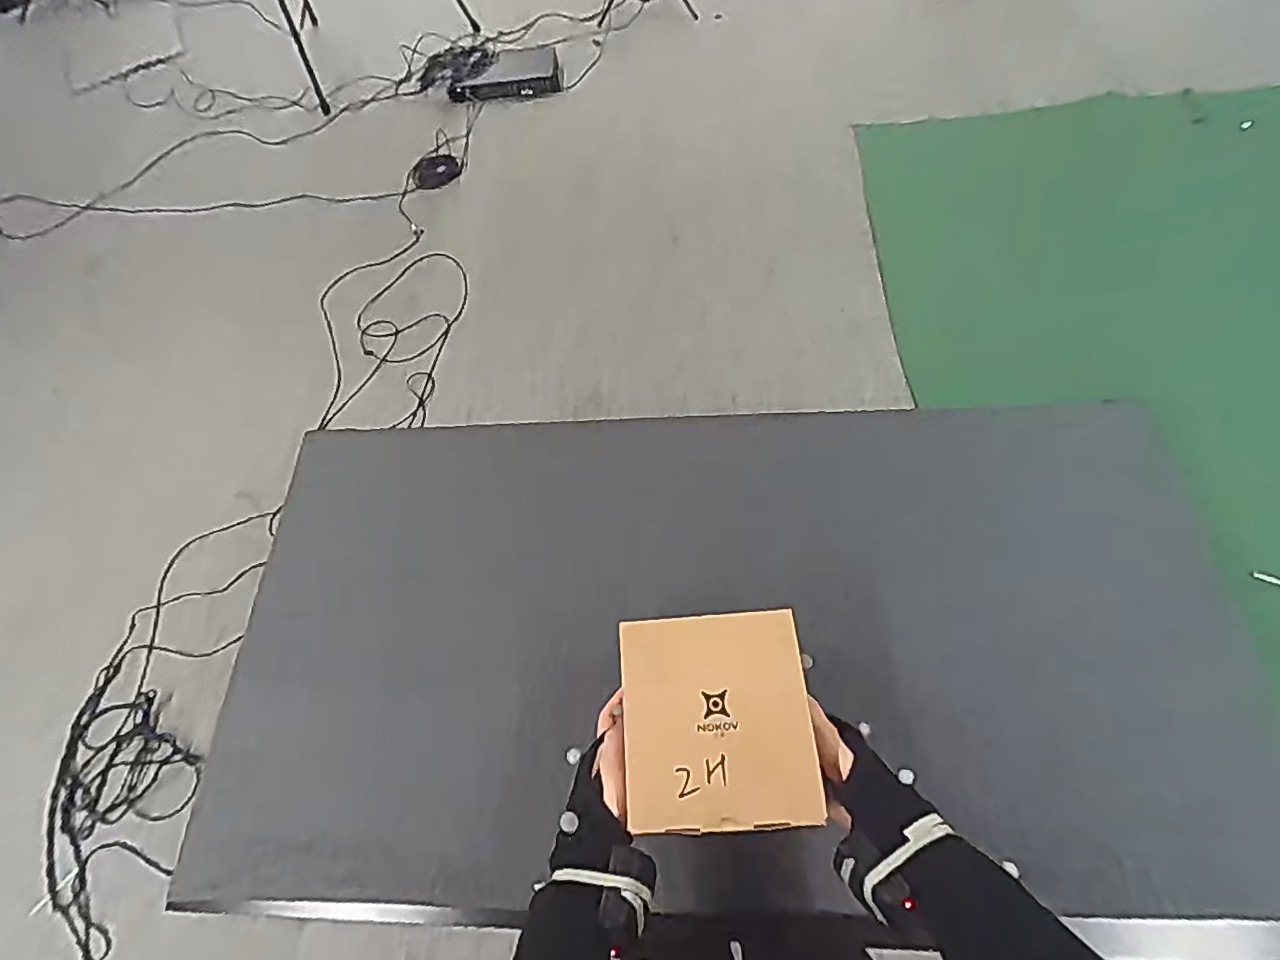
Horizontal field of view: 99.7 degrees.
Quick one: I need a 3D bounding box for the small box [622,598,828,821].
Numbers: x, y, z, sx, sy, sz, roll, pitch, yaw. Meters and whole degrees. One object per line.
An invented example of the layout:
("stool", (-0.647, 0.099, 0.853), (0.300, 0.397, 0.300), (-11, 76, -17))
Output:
("small box", (0.073, 0.228, 0.541), (0.168, 0.176, 0.179), (-5, 65, 4))
